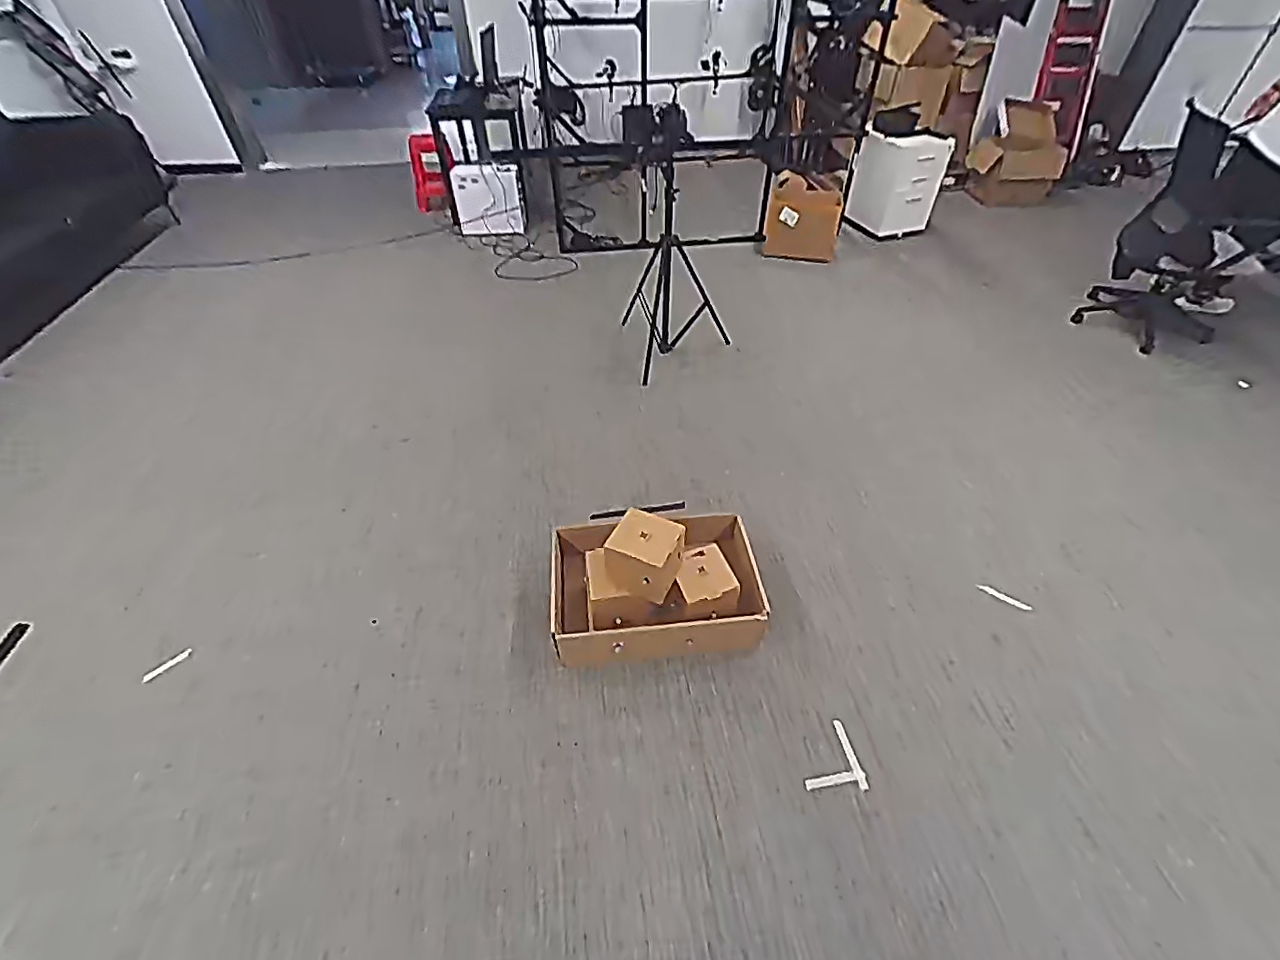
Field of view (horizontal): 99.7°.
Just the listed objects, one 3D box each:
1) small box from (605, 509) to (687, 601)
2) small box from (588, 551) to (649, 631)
[{"bbox_3d":[0.019,0.215,1.521,0.179,0.176,0.168,17,45,19],"label":"small box"},{"bbox_3d":[-0.067,0.330,1.636,0.168,0.176,0.179,-6,45,-7],"label":"small box"}]
